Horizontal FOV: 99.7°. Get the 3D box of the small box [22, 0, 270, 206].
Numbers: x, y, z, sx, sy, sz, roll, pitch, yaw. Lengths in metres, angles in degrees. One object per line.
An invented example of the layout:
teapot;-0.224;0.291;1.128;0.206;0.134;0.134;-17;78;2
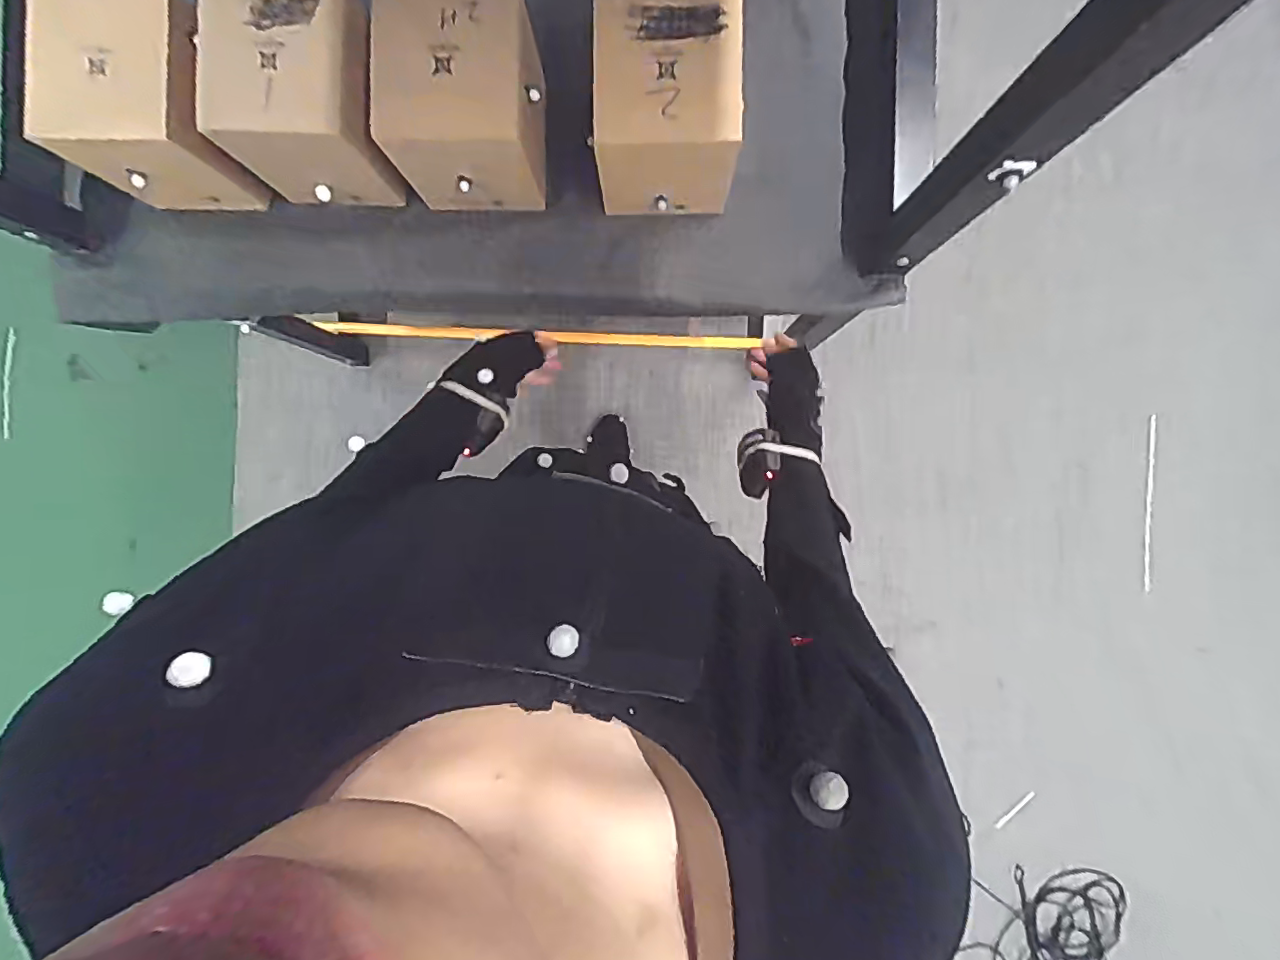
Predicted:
small box;-0.604;-0.469;0.683;0.168;0.176;0.179;1;90;0
